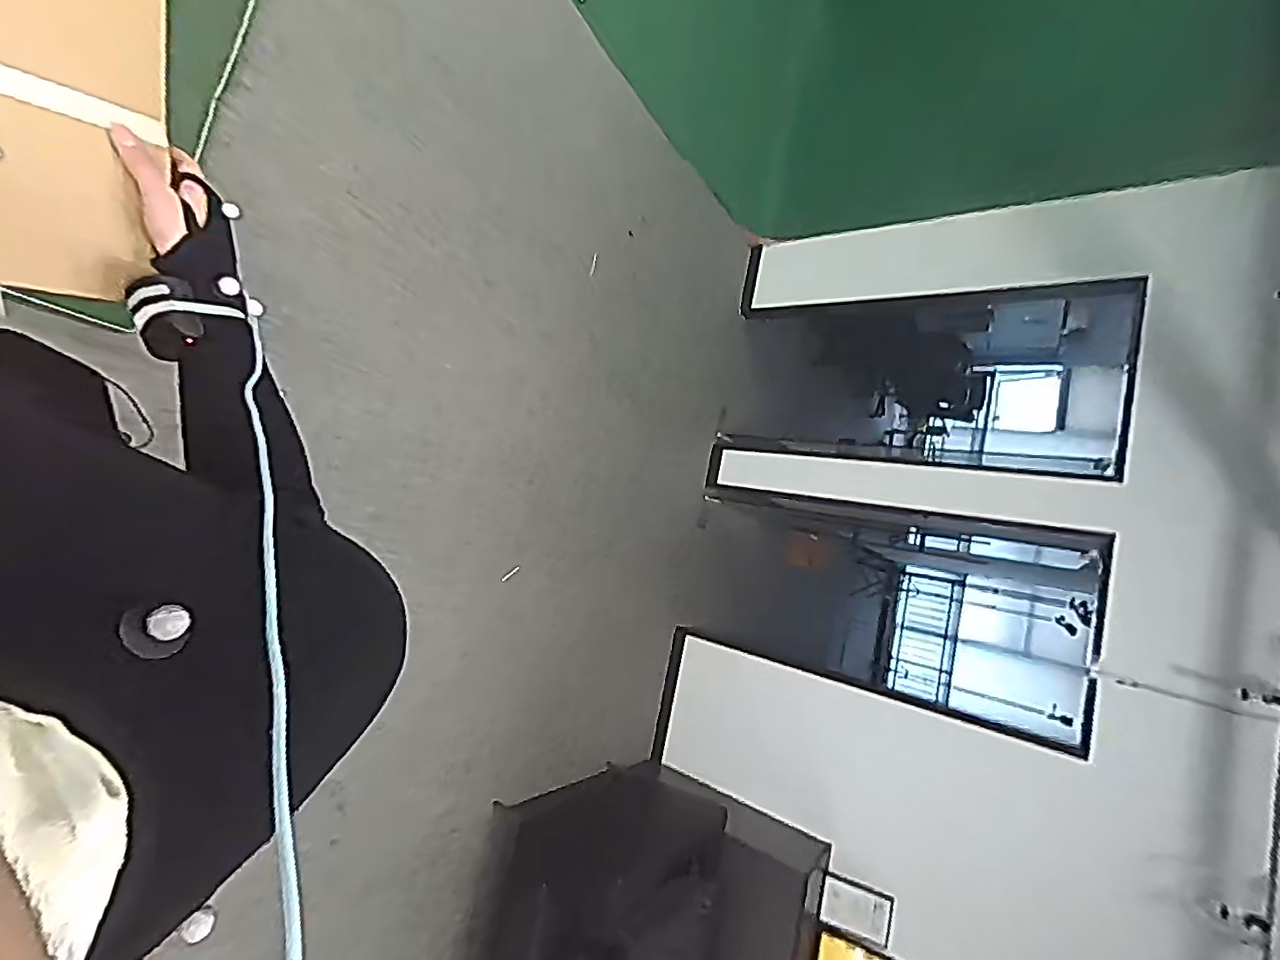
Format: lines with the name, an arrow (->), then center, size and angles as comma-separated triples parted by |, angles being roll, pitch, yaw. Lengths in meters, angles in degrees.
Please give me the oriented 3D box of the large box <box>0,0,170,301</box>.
large box -> -0.687, -0.346, 0.433 | 0.408, 0.320, 0.320 | -8, 112, -55
